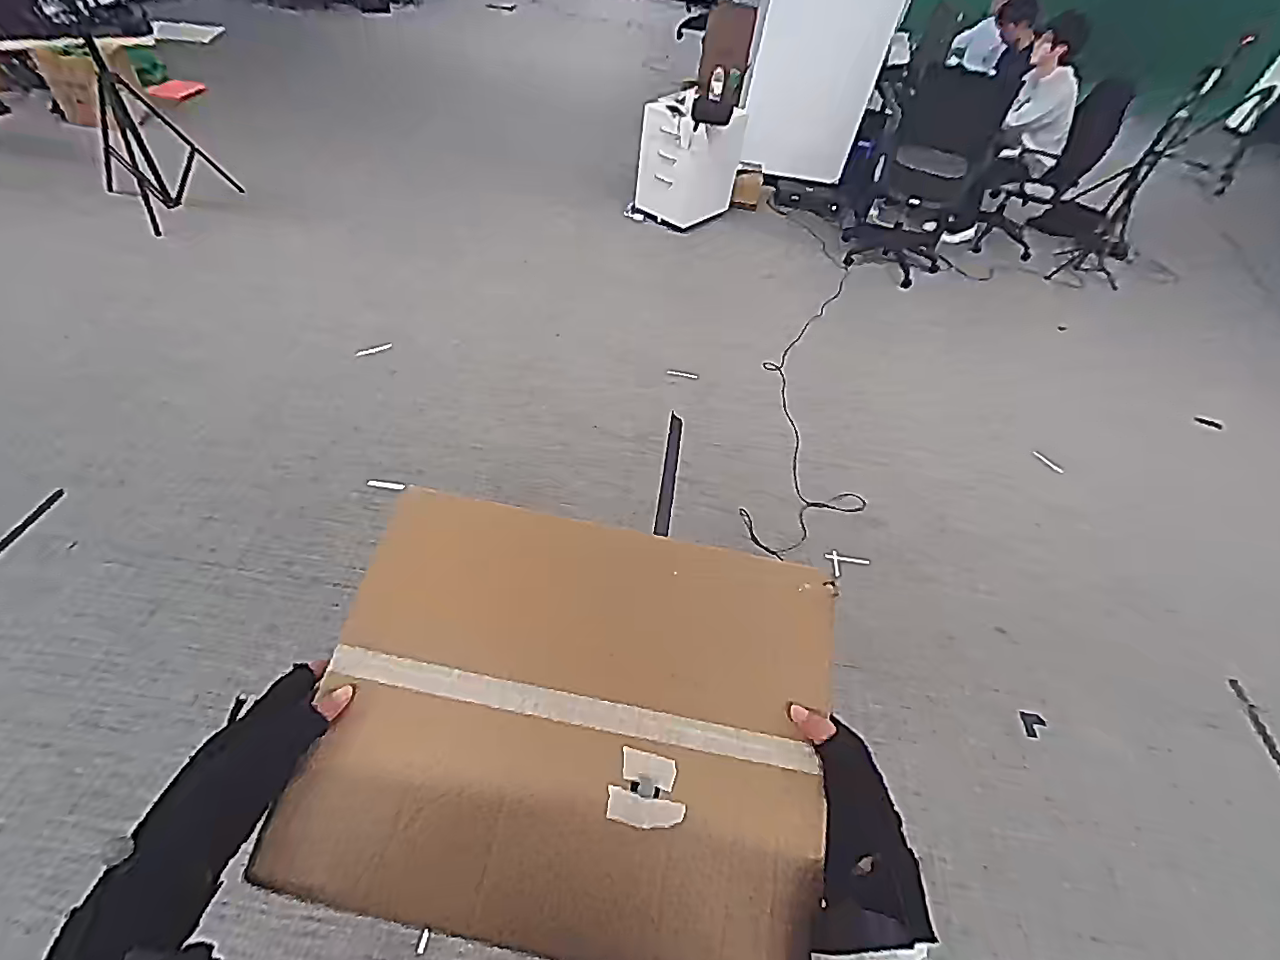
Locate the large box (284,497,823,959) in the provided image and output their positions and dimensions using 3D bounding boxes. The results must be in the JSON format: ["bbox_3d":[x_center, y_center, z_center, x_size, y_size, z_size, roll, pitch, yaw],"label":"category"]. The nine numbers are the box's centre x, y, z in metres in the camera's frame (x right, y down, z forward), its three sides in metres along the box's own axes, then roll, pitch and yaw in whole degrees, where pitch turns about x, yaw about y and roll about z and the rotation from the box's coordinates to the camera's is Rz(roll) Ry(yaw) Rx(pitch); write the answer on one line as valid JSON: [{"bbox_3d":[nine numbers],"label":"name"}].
[{"bbox_3d":[-0.055,0.247,0.593,0.408,0.320,0.320,11,66,2],"label":"large box"}]
